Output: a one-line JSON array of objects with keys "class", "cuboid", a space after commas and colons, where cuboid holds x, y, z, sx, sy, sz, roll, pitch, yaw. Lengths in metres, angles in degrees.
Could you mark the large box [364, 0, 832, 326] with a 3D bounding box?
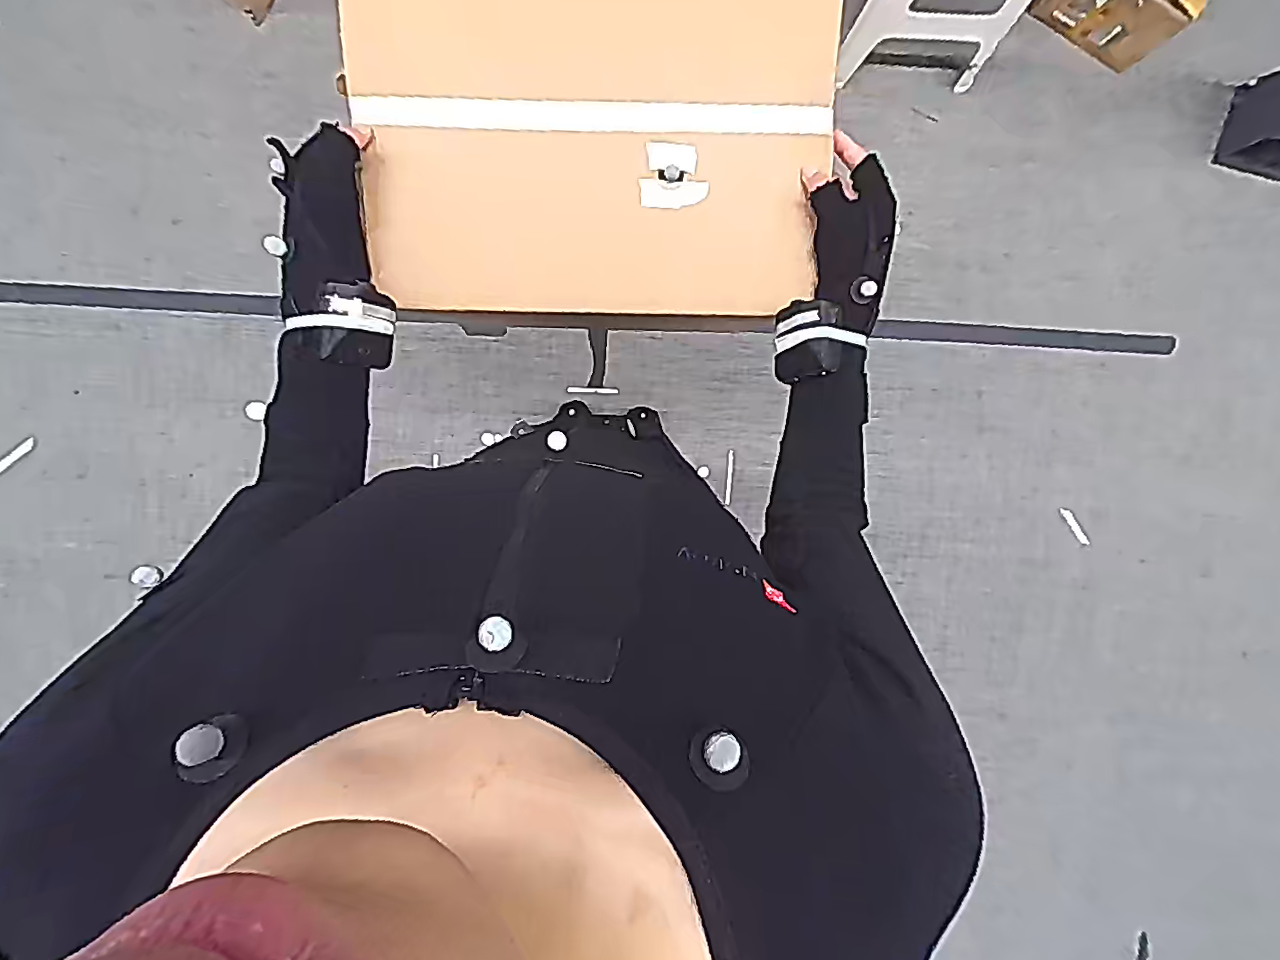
[{"class": "large box", "cuboid": [-0.040, -0.347, 0.622, 0.408, 0.320, 0.320, 0, 104, -2]}]
